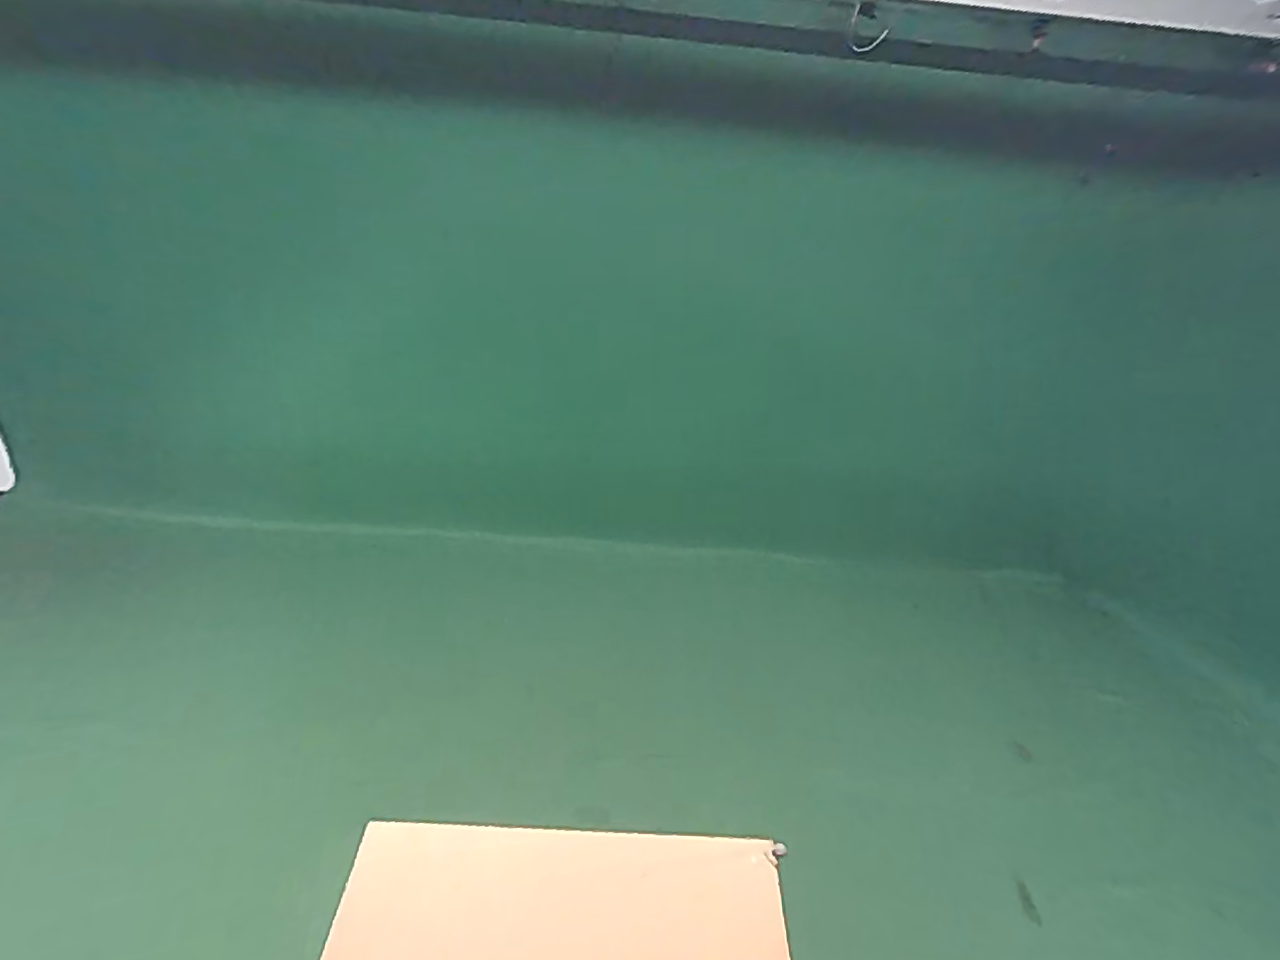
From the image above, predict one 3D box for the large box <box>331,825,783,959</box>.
[{"bbox_3d":[-0.087,0.569,0.532,0.408,0.320,0.320,6,42,-5],"label":"large box"}]
